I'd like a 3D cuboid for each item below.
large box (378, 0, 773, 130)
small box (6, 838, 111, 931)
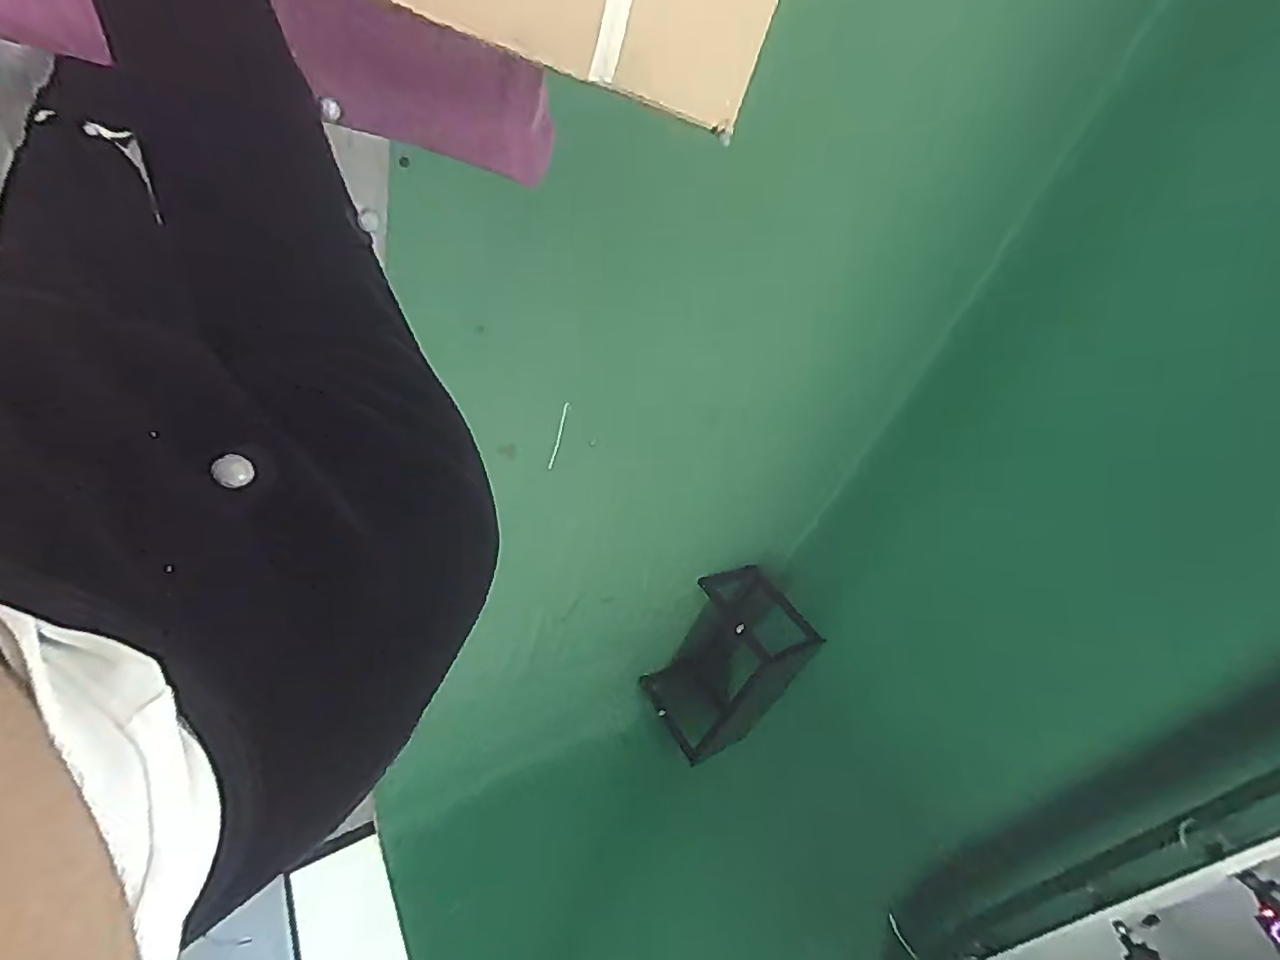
[{"bbox_3d":[-0.052,-0.573,0.418,0.320,0.320,0.408,-8,134,-36],"label":"large box"},{"bbox_3d":[-1.618,1.145,1.513,0.168,0.176,0.179,-11,137,-35],"label":"small box"}]
